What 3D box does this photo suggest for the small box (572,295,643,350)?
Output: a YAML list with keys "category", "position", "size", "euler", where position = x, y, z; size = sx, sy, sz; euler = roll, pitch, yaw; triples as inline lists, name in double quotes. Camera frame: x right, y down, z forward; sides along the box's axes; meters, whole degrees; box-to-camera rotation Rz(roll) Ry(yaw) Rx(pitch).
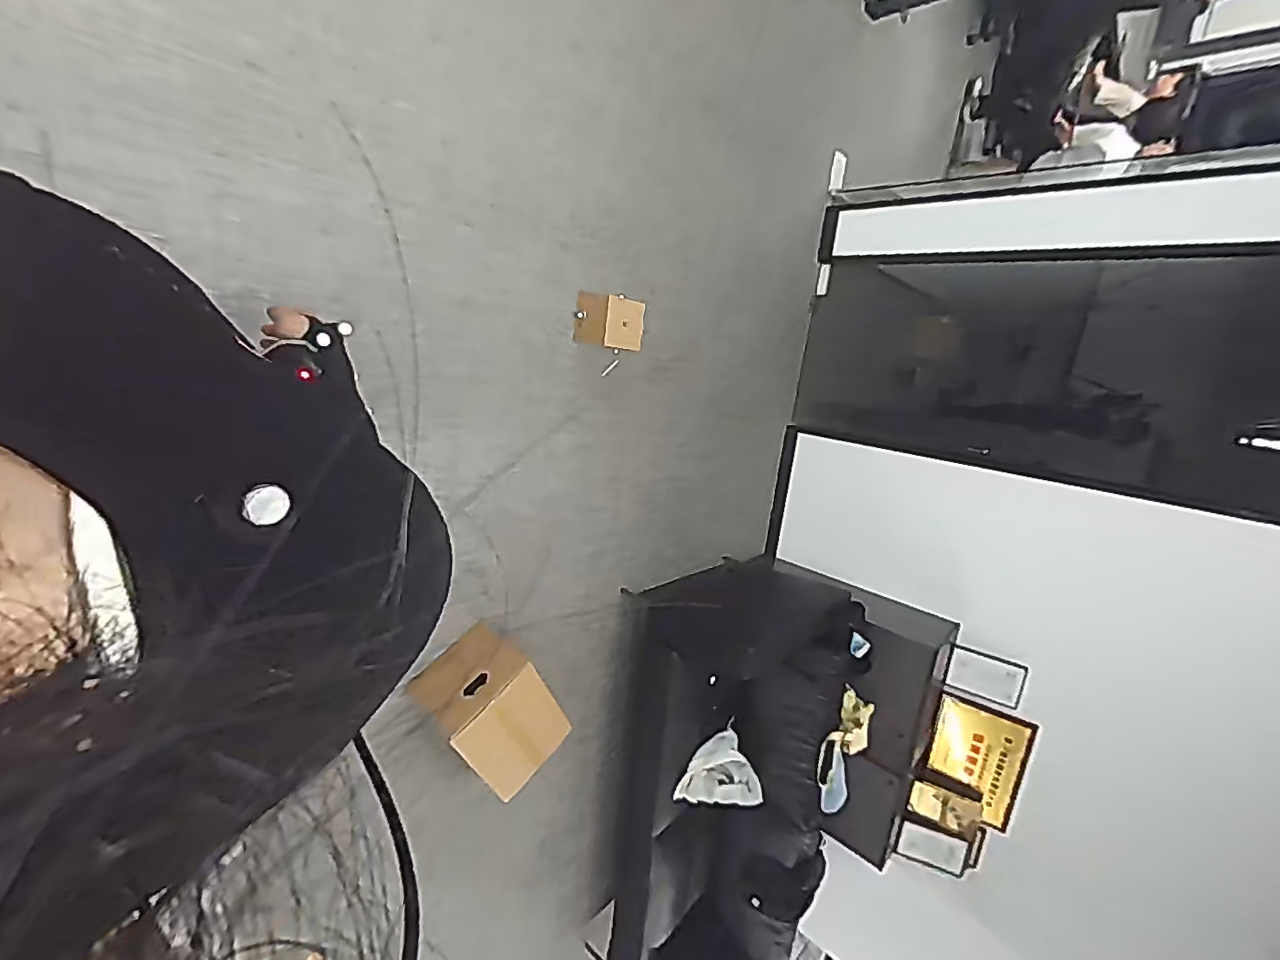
- category: "small box"
  position: [-0.115, -0.556, 1.903]
  size: [0.179, 0.176, 0.168]
  euler: [-6, 108, -46]
